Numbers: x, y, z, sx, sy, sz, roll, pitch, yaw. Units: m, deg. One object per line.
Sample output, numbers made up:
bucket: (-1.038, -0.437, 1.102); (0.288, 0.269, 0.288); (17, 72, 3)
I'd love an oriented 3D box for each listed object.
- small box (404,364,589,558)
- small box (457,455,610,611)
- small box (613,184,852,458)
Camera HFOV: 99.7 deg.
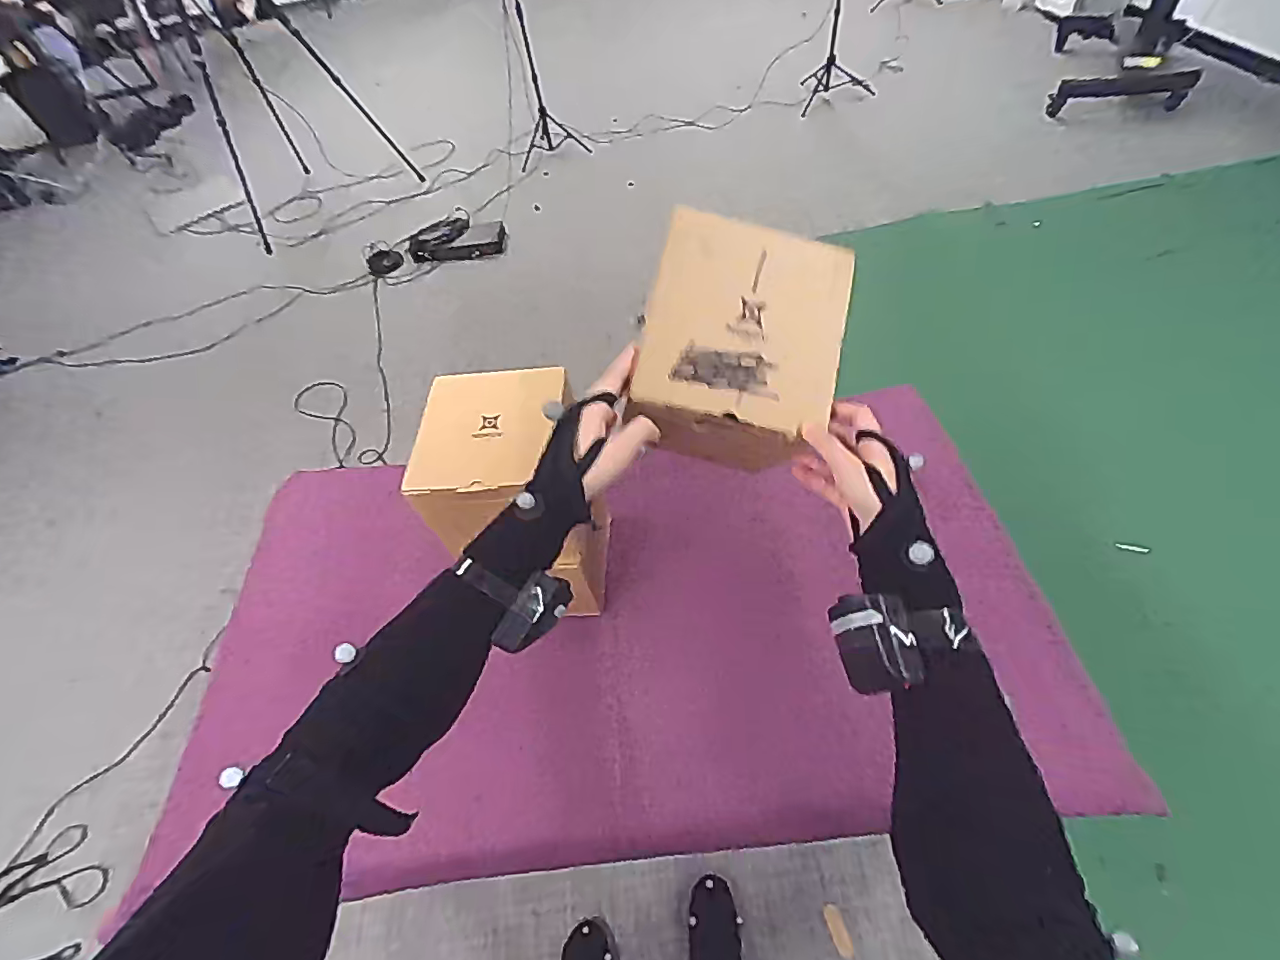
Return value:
small box: (-0.160, -0.020, 0.672); (0.168, 0.176, 0.179); (-3, 55, 4)
small box: (-0.141, 0.083, 0.796); (0.168, 0.176, 0.179); (-1, 54, 7)
small box: (0.072, -0.131, 0.513); (0.168, 0.176, 0.179); (14, 80, -4)
